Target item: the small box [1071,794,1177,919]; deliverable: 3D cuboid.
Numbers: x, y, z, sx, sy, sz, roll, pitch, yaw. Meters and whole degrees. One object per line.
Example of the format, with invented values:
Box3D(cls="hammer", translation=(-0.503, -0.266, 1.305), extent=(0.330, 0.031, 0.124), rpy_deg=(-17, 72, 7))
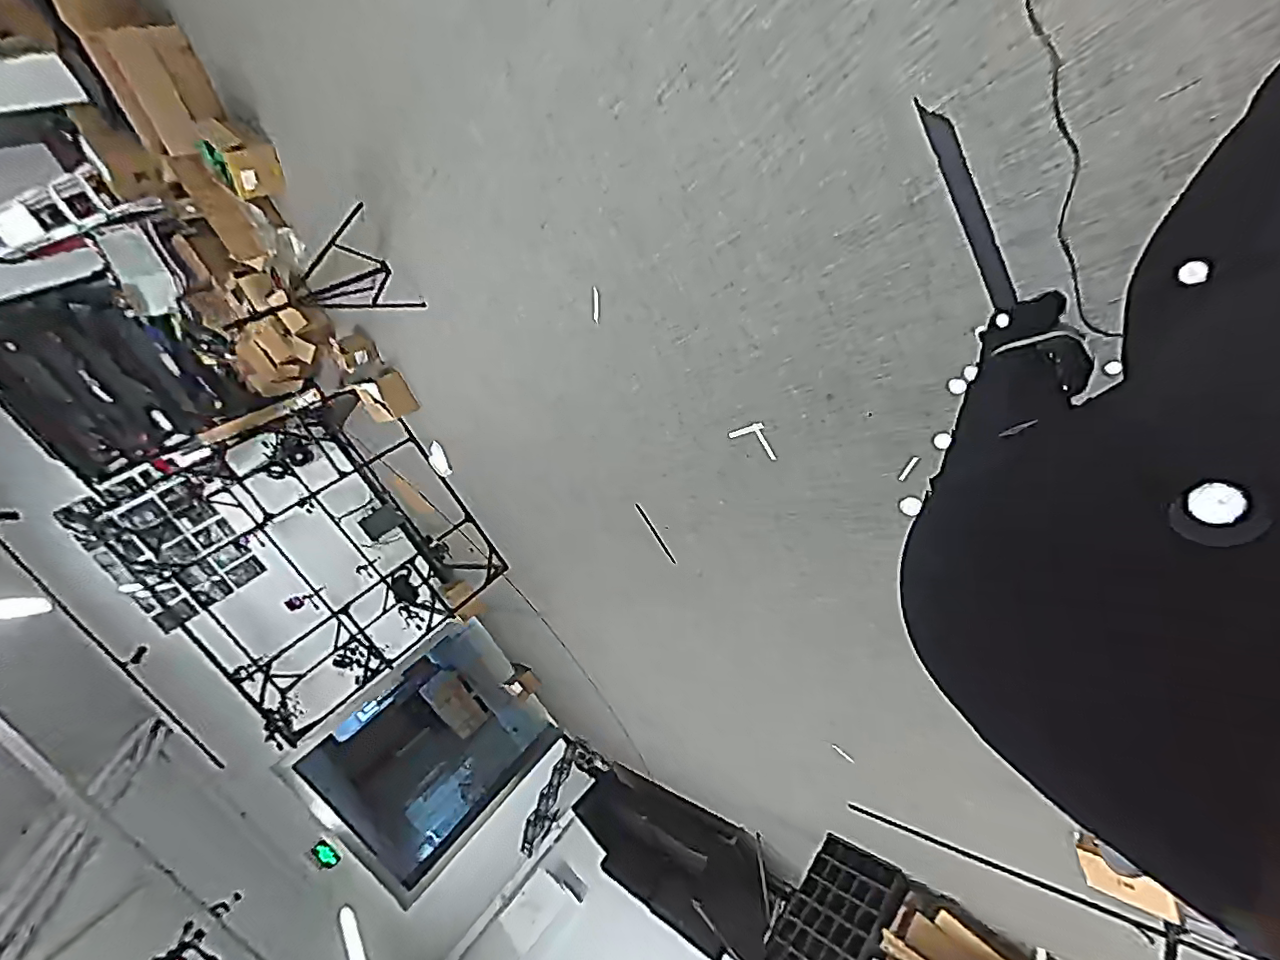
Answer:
Box3D(cls="small box", translation=(1.239, 0.947, 1.380), extent=(0.179, 0.176, 0.168), rpy_deg=(-2, 122, 52))
